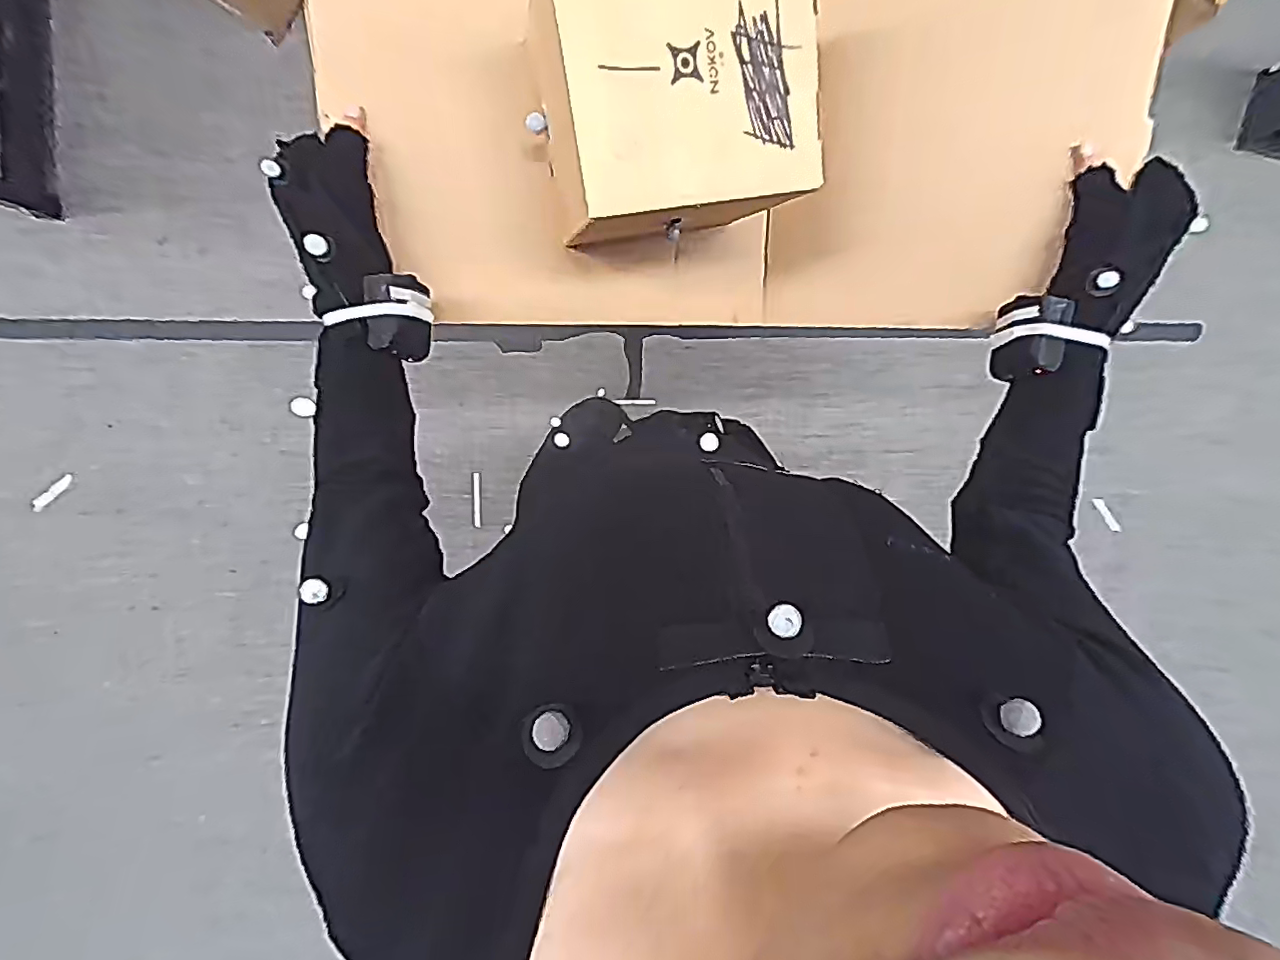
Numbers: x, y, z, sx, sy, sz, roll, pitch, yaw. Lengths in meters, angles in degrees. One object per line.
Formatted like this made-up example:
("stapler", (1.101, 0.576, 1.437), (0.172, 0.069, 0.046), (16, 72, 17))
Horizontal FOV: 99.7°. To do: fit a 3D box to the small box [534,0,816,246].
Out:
("small box", (0.019, -0.293, 0.436), (0.179, 0.176, 0.168), (-12, 109, -10))
